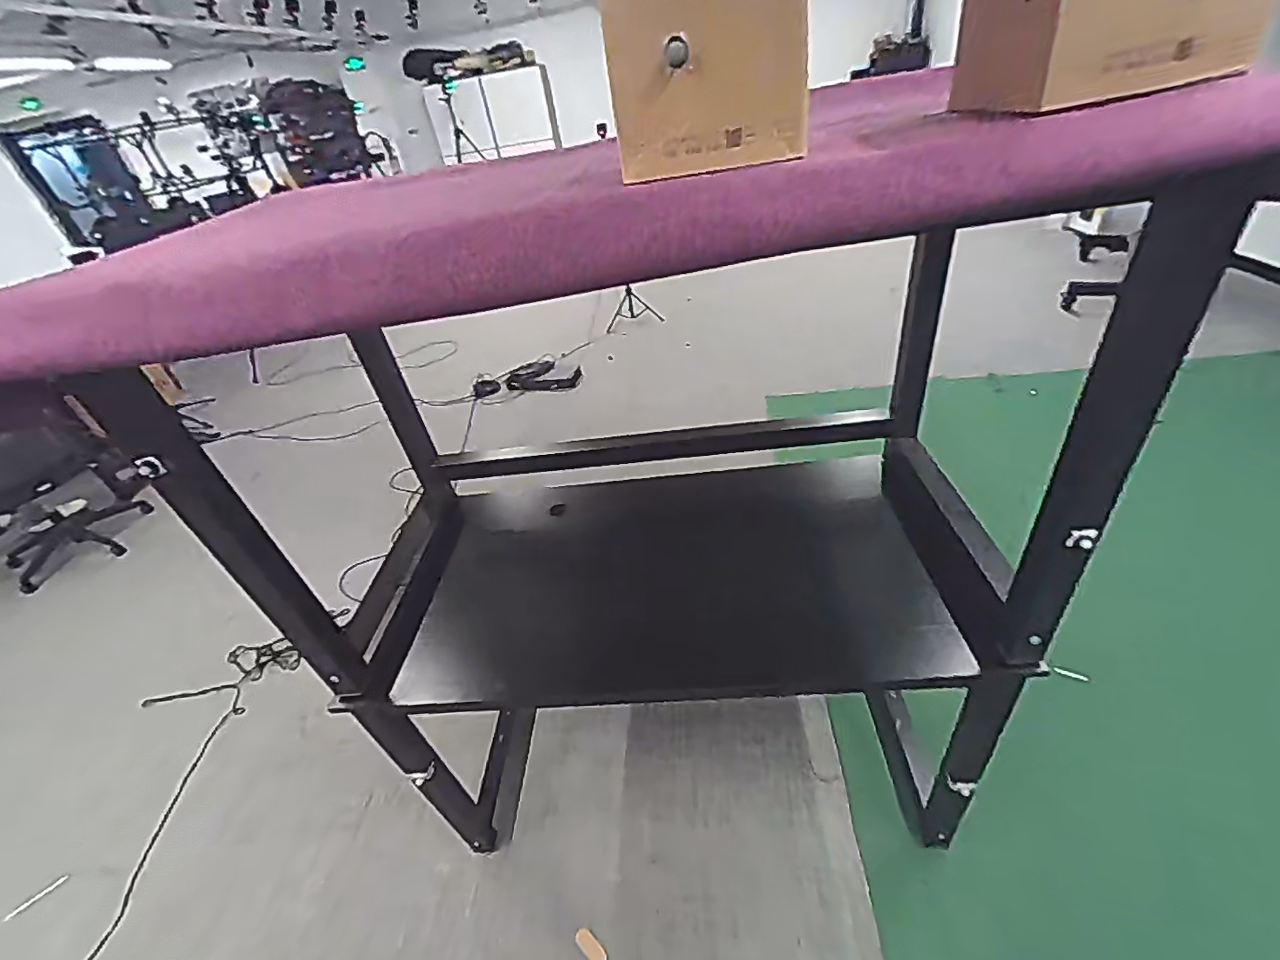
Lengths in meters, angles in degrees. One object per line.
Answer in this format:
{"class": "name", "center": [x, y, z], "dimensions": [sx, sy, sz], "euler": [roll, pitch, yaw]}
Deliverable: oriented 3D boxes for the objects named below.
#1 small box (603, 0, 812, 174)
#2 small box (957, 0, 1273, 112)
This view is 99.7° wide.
{"class": "small box", "center": [0.070, -0.398, 0.509], "dimensions": [0.168, 0.176, 0.179], "euler": [-2, 35, 12]}
{"class": "small box", "center": [0.408, -0.435, 0.471], "dimensions": [0.168, 0.176, 0.179], "euler": [-6, 34, 6]}
